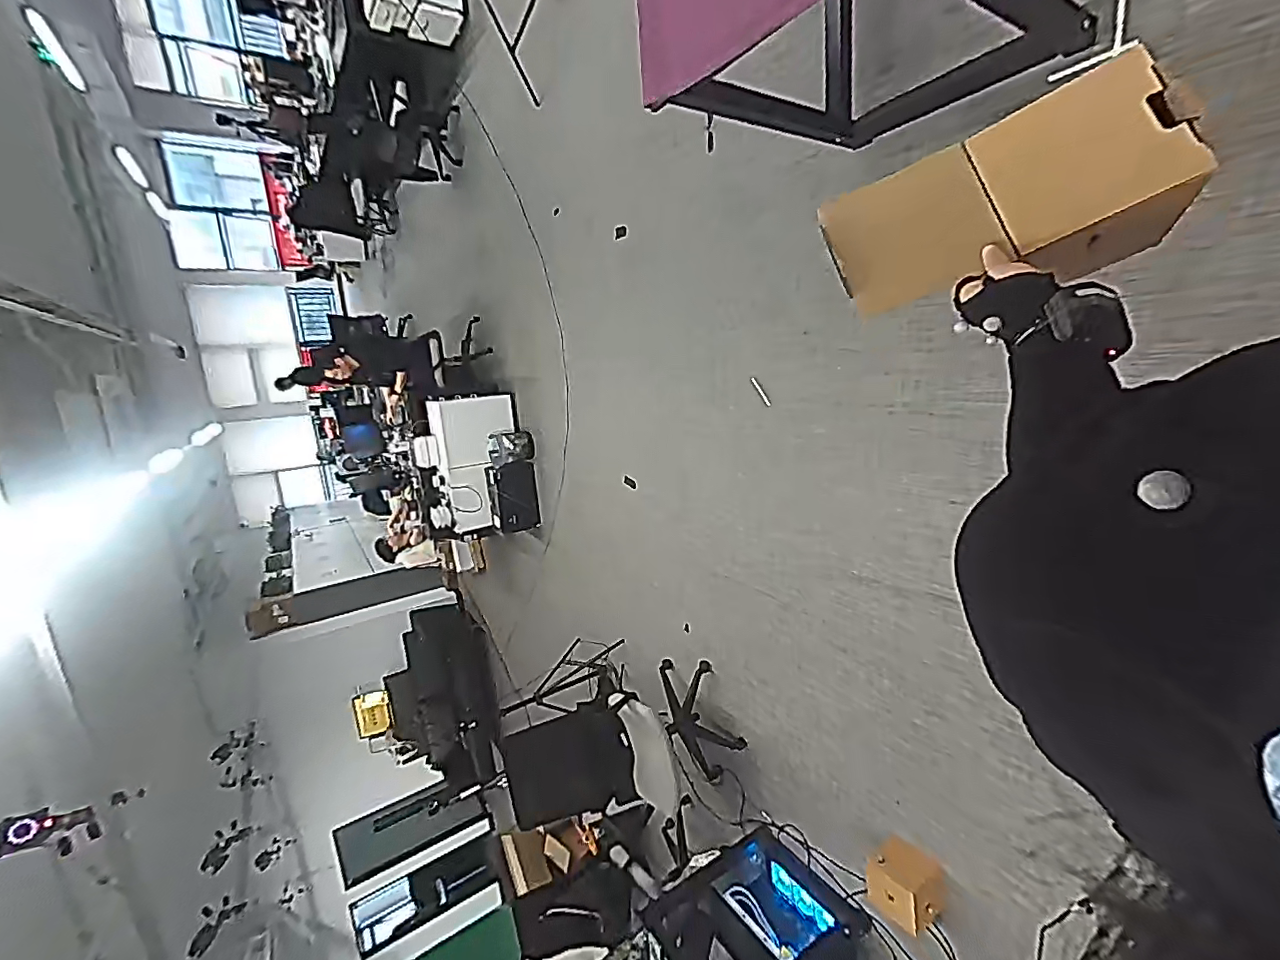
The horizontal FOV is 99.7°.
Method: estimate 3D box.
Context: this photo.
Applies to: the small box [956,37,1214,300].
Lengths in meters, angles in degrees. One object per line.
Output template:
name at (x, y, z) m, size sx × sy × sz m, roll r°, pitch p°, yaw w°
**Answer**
small box at (0.501, -0.344, 0.642) m, size 0.179 × 0.176 × 0.168 m, roll -23°, pitch 76°, yaw 27°
